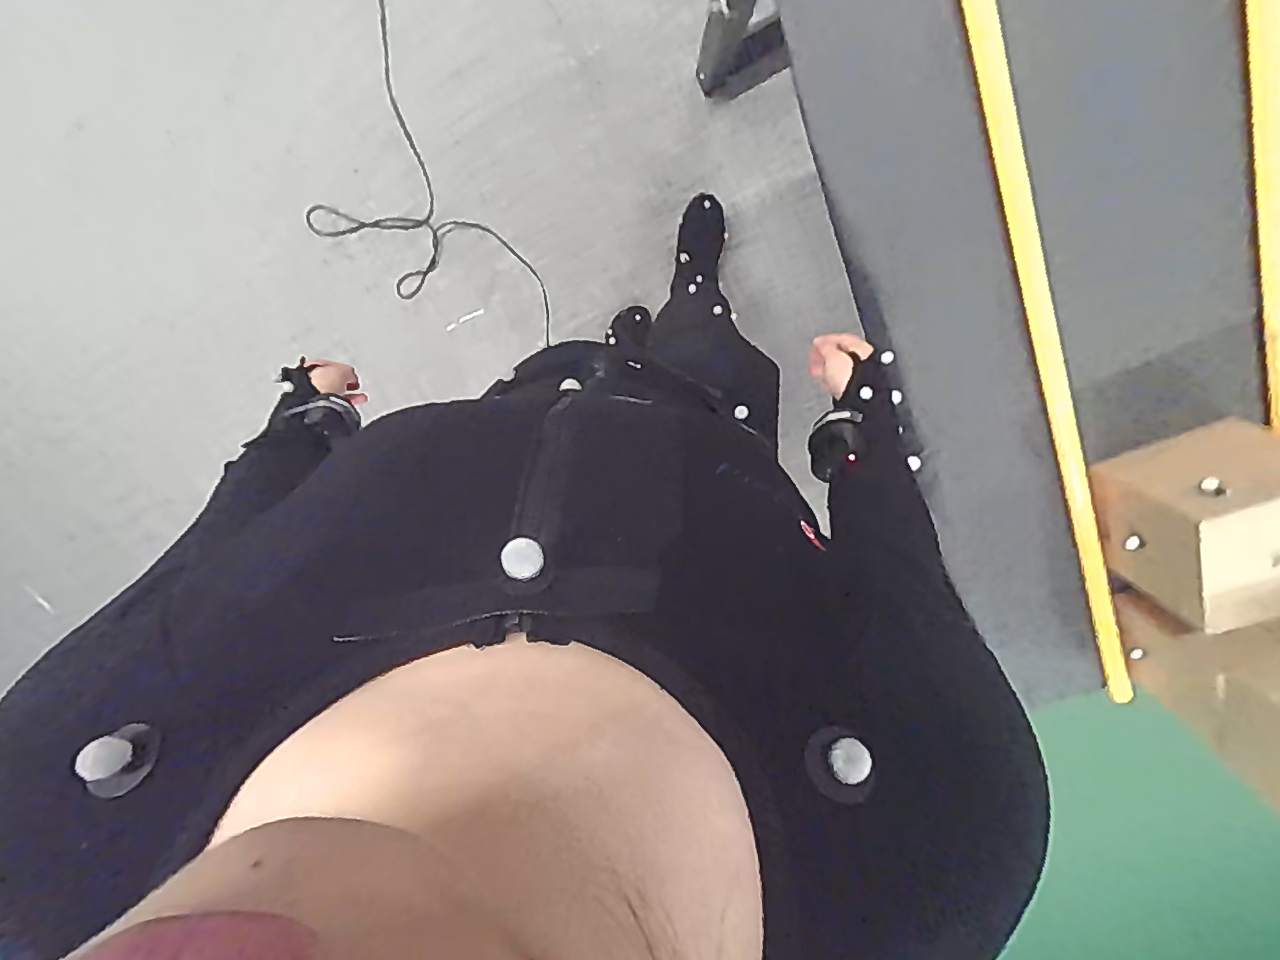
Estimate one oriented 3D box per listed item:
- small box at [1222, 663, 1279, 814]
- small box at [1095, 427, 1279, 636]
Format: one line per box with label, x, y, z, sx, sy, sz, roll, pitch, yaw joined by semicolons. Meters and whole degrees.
small box;0.804;0.310;0.592;0.168;0.176;0.179;-19;111;10
small box;0.709;0.055;0.668;0.179;0.176;0.168;-21;110;10
